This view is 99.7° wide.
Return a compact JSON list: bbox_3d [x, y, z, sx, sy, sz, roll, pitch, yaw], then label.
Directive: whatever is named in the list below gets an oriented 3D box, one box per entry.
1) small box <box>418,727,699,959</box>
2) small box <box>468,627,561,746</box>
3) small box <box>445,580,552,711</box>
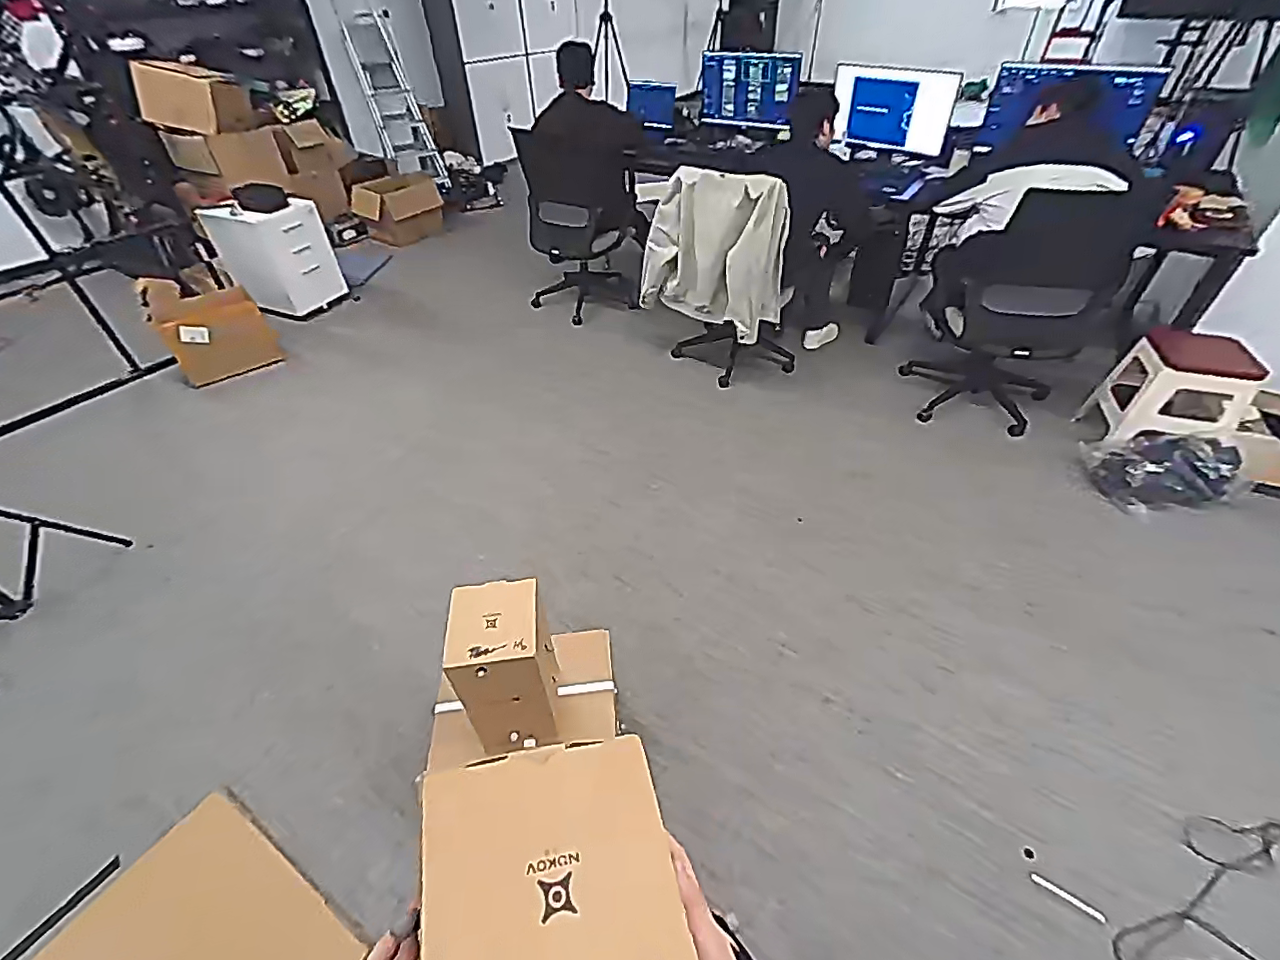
[{"bbox_3d":[-0.074,0.318,0.402,0.168,0.176,0.179,0,42,-22],"label":"small box"},{"bbox_3d":[-0.264,0.447,1.172,0.168,0.176,0.179,-7,43,-5],"label":"small box"},{"bbox_3d":[-0.269,0.324,1.064,0.168,0.176,0.179,-7,42,-4],"label":"small box"}]
